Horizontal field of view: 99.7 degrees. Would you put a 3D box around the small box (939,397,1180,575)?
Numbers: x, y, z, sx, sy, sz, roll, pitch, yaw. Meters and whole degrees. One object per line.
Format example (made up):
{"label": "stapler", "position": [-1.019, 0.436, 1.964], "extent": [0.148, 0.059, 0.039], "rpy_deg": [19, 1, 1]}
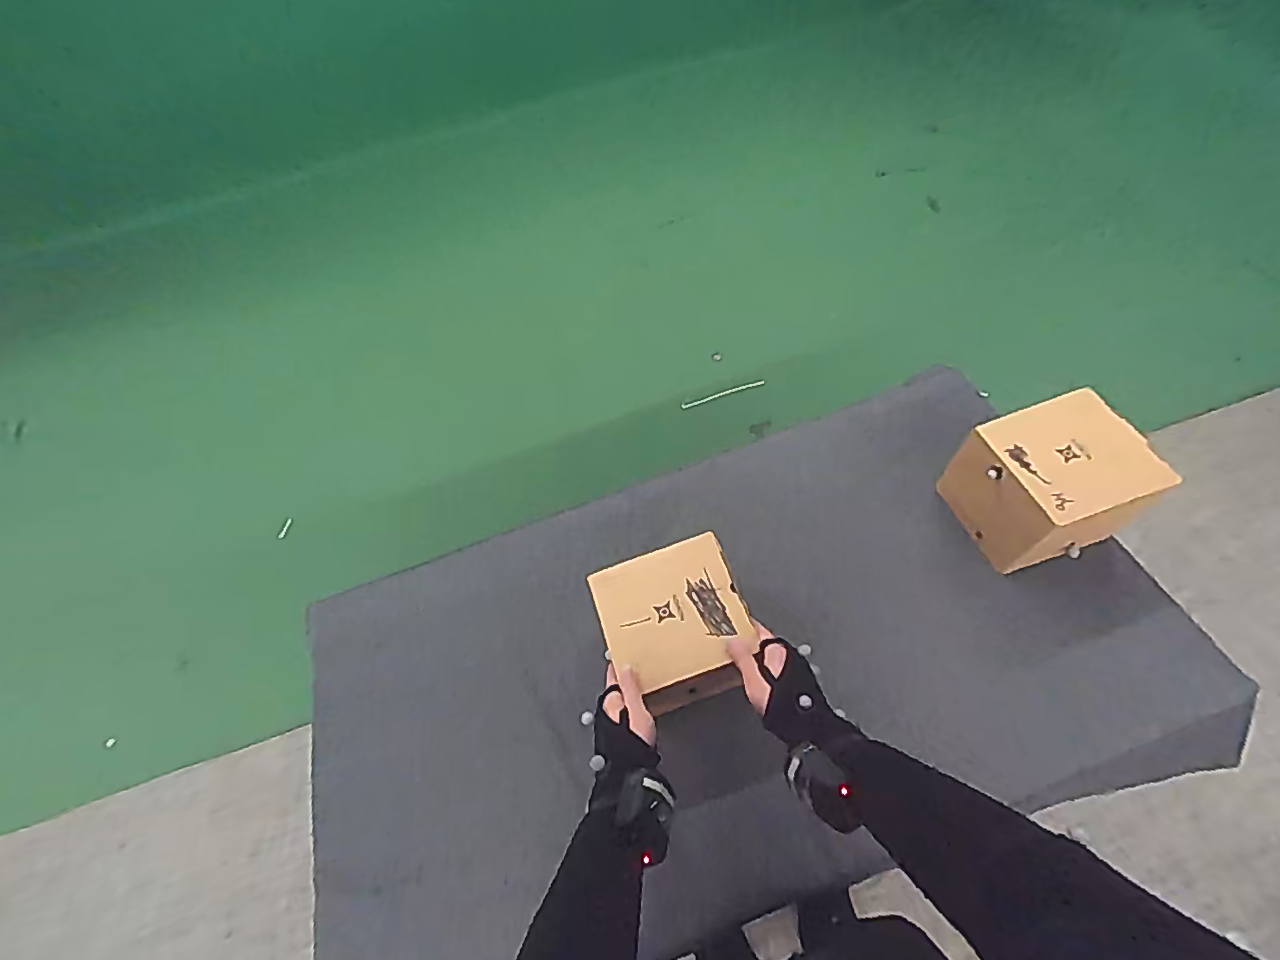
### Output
{"label": "small box", "position": [0.574, 0.014, 0.772], "extent": [0.179, 0.176, 0.168], "rpy_deg": [-17, 58, -5]}

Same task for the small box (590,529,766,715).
{"label": "small box", "position": [0.047, 0.193, 0.718], "extent": [0.179, 0.176, 0.168], "rpy_deg": [-18, 58, -4]}
